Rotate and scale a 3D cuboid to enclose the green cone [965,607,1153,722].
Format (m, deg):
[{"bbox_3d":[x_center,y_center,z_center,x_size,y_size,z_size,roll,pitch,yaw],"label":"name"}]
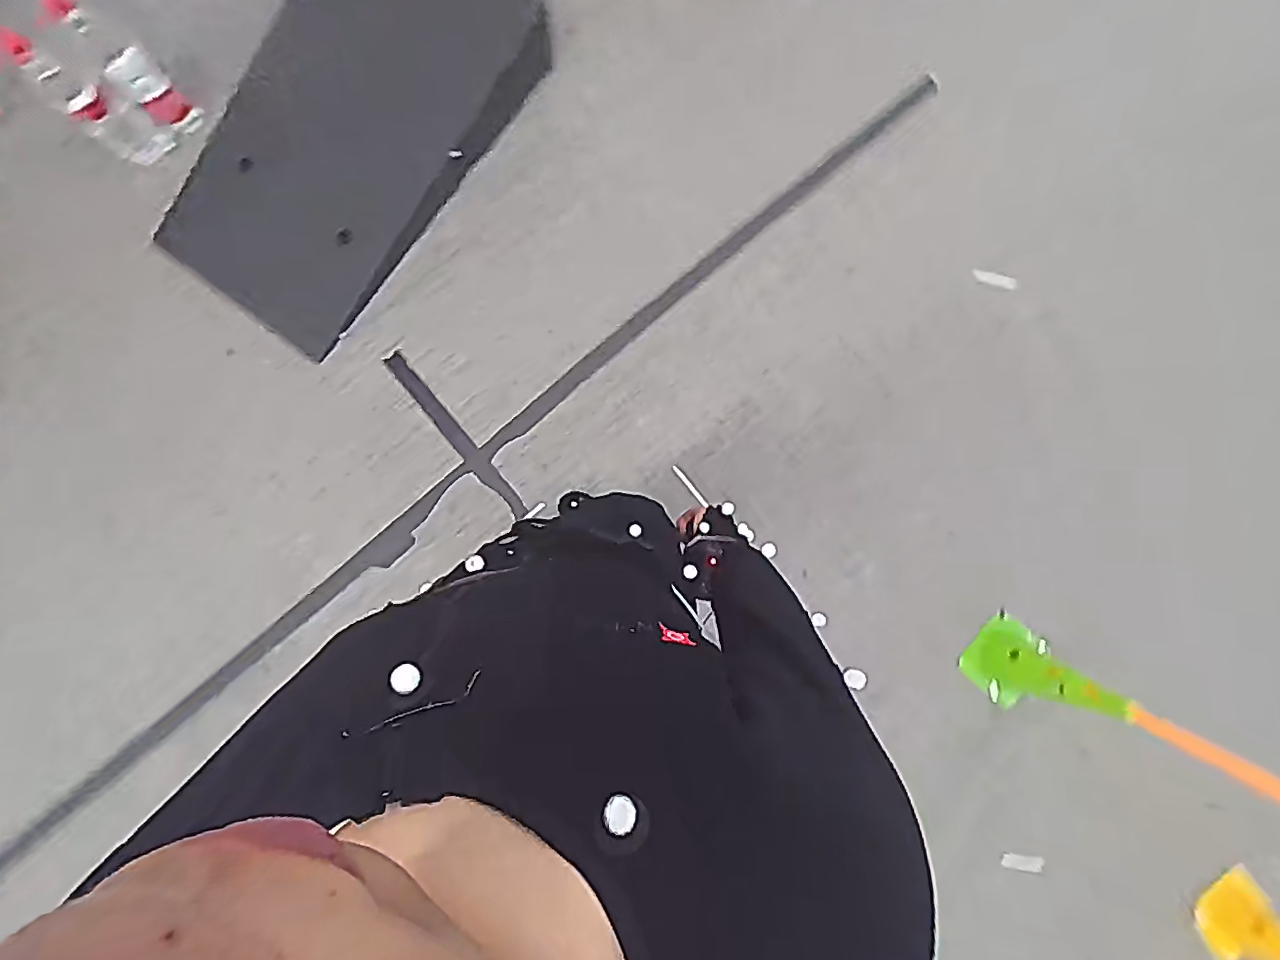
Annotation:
[{"bbox_3d":[1.004,0.471,1.275,0.202,0.368,0.200,40,87,-5],"label":"green cone"}]
